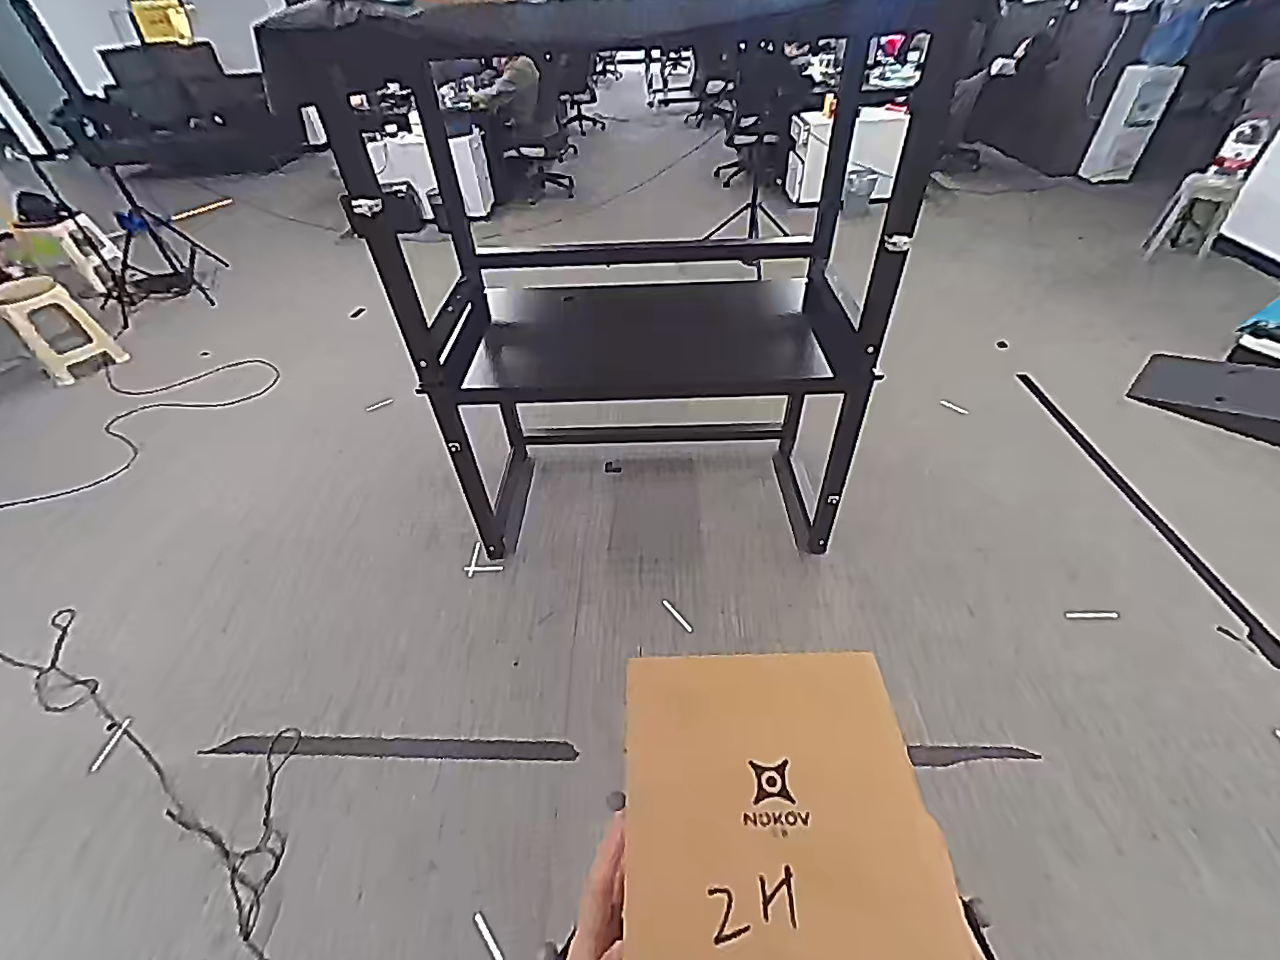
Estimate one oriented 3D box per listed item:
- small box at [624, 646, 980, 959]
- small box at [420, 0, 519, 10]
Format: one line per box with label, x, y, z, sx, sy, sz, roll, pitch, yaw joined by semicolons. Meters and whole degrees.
small box;0.079;0.230;0.355;0.168;0.176;0.179;-3;45;3
small box;-0.313;-0.945;0.951;0.168;0.176;0.179;-3;42;-1
